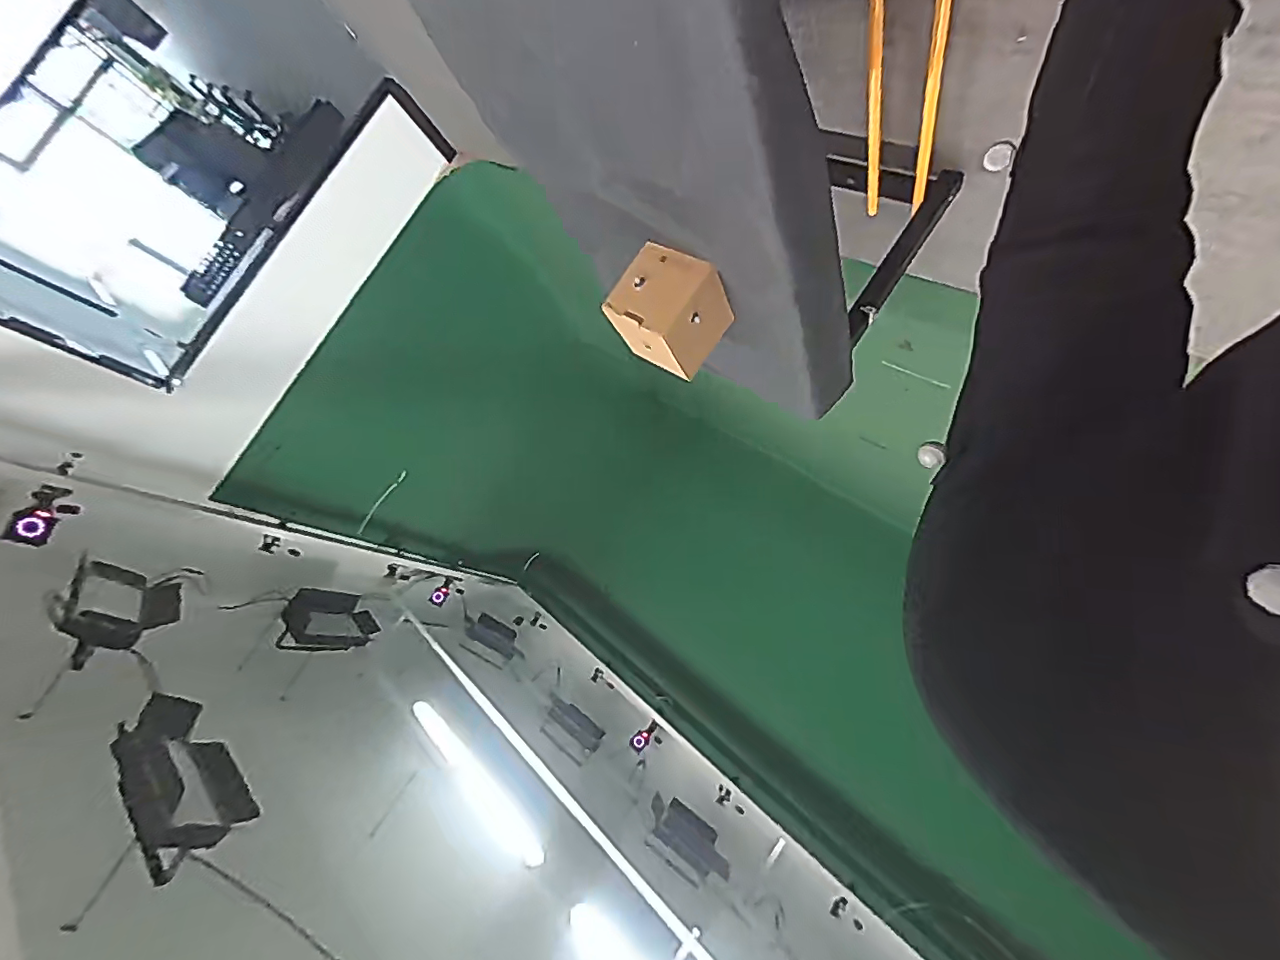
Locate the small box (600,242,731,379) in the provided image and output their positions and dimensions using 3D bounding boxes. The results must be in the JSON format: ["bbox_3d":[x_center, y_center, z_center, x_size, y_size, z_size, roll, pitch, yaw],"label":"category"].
[{"bbox_3d":[0.057,-0.340,1.080,0.168,0.176,0.179,34,178,29],"label":"small box"}]
